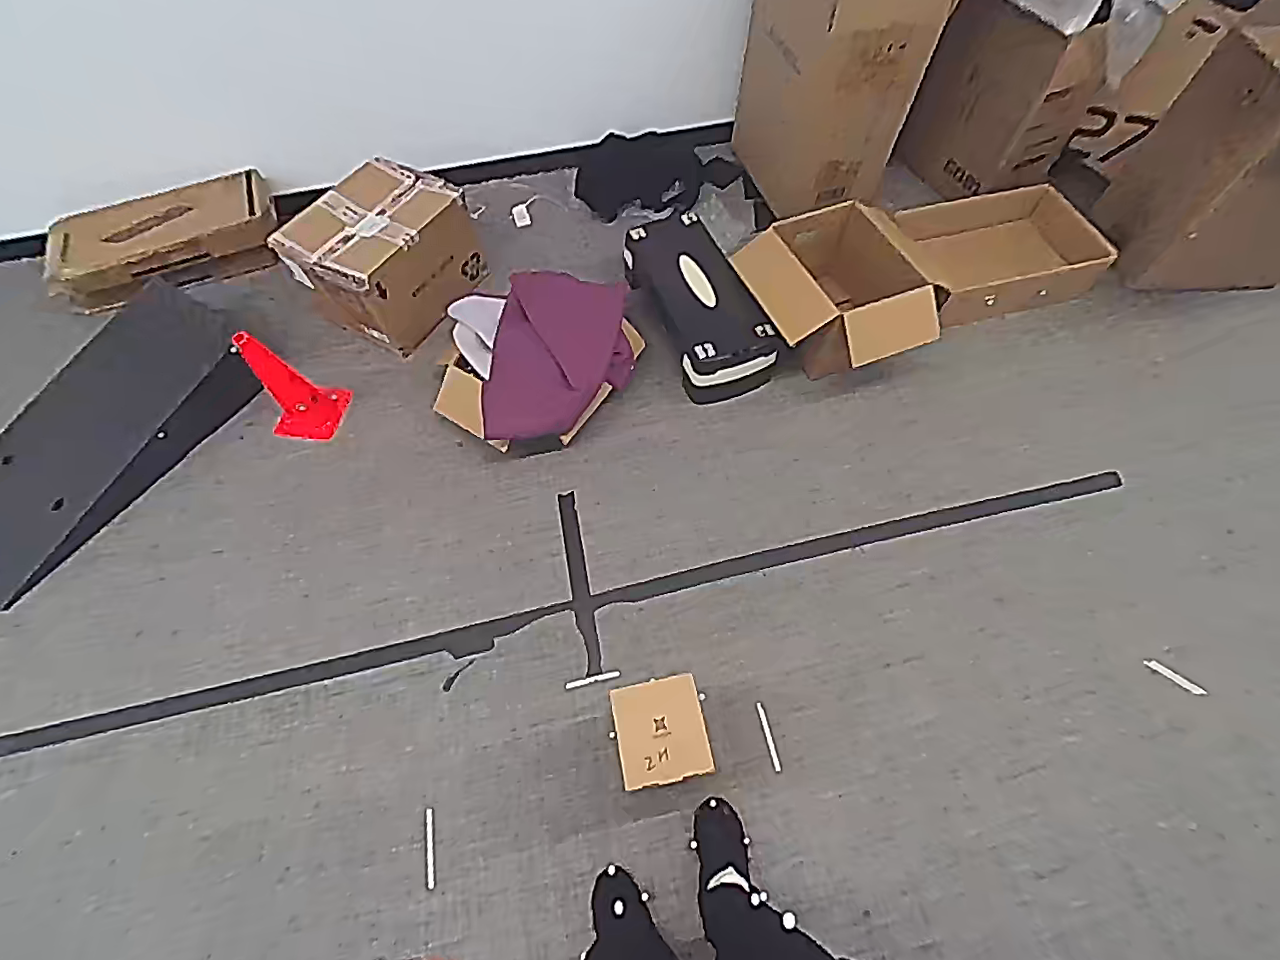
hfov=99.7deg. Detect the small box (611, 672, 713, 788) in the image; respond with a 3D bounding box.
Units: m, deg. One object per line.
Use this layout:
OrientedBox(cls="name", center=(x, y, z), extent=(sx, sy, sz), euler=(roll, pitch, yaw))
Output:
OrientedBox(cls="small box", center=(0.038, 0.499, 1.075), extent=(0.168, 0.176, 0.179), euler=(-11, 63, -4))
